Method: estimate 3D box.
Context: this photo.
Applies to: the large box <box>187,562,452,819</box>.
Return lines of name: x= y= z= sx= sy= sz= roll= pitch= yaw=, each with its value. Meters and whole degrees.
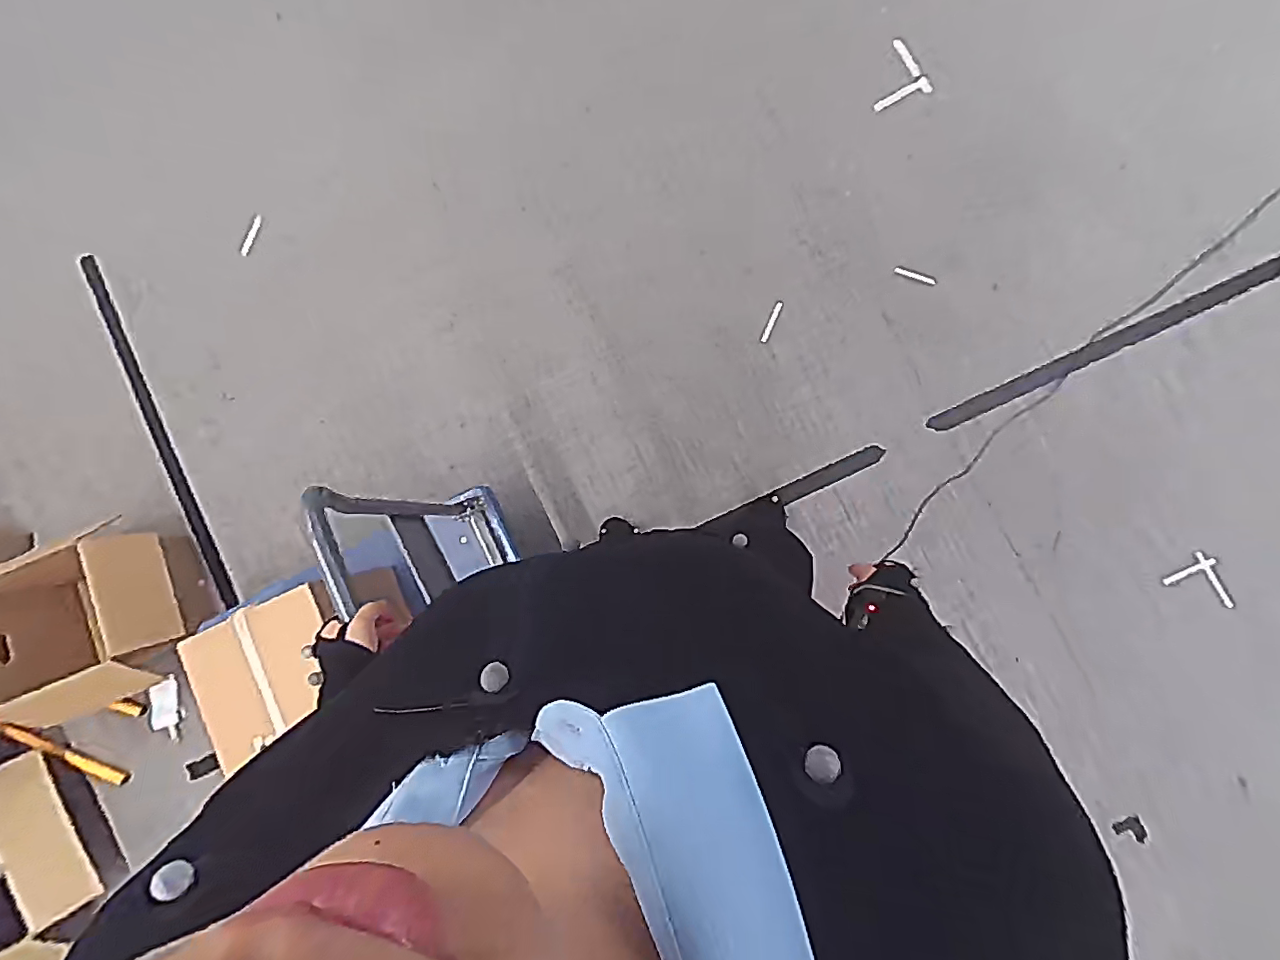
large box: x=-0.699 y=0.443 z=1.233 sx=0.320 sy=0.320 sz=0.408 roll=-25 pitch=86 yaw=5
